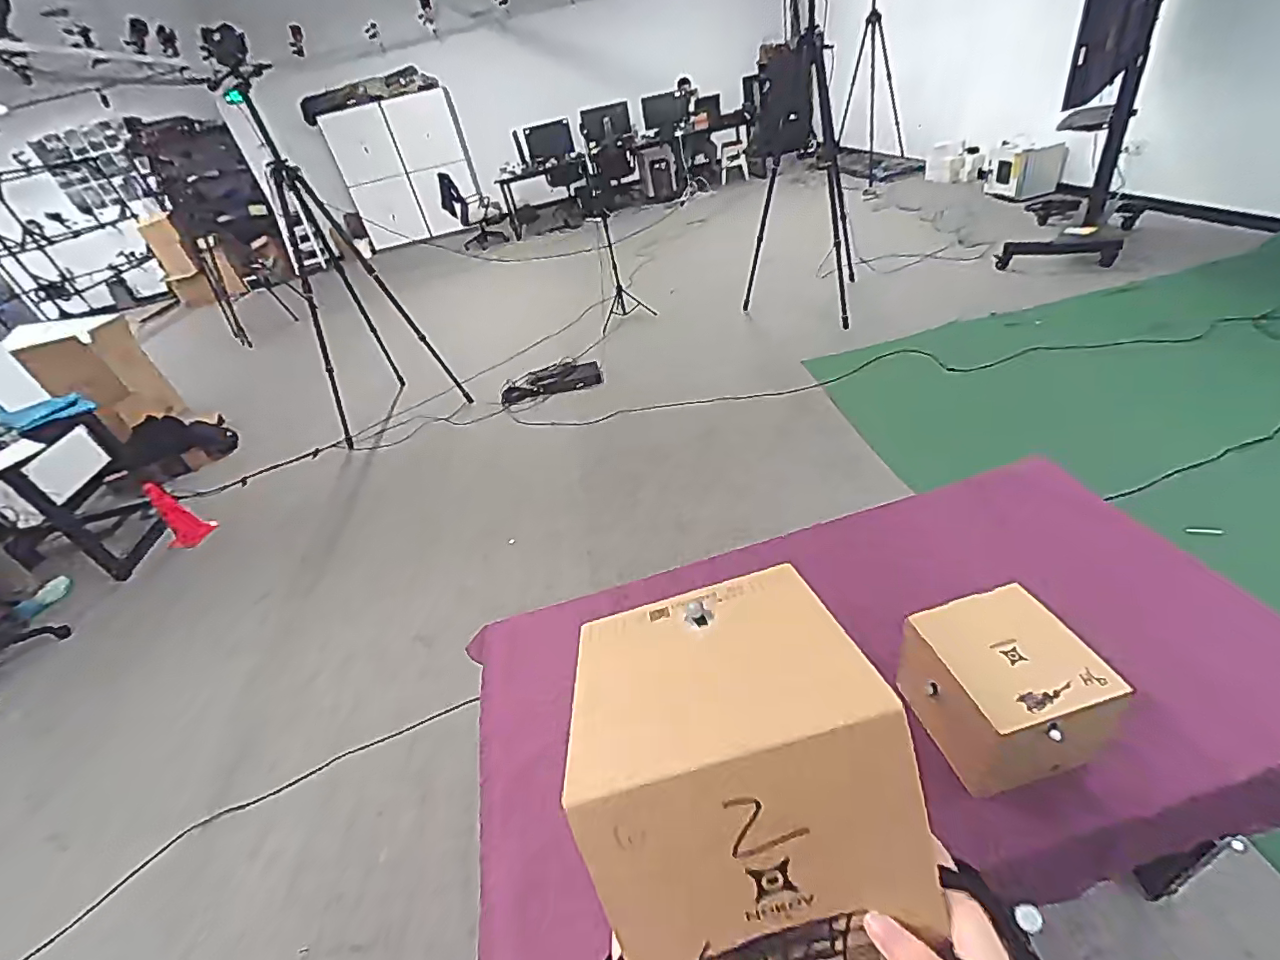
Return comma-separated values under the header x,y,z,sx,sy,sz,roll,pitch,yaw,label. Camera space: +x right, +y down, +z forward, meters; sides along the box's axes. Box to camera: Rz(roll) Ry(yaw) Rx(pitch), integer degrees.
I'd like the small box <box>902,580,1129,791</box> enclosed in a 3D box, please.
x,y,z,sx,sy,sz,roll,pitch,yaw,label
0.473,0.270,0.718,0.168,0.176,0.179,-18,36,-2,small box
